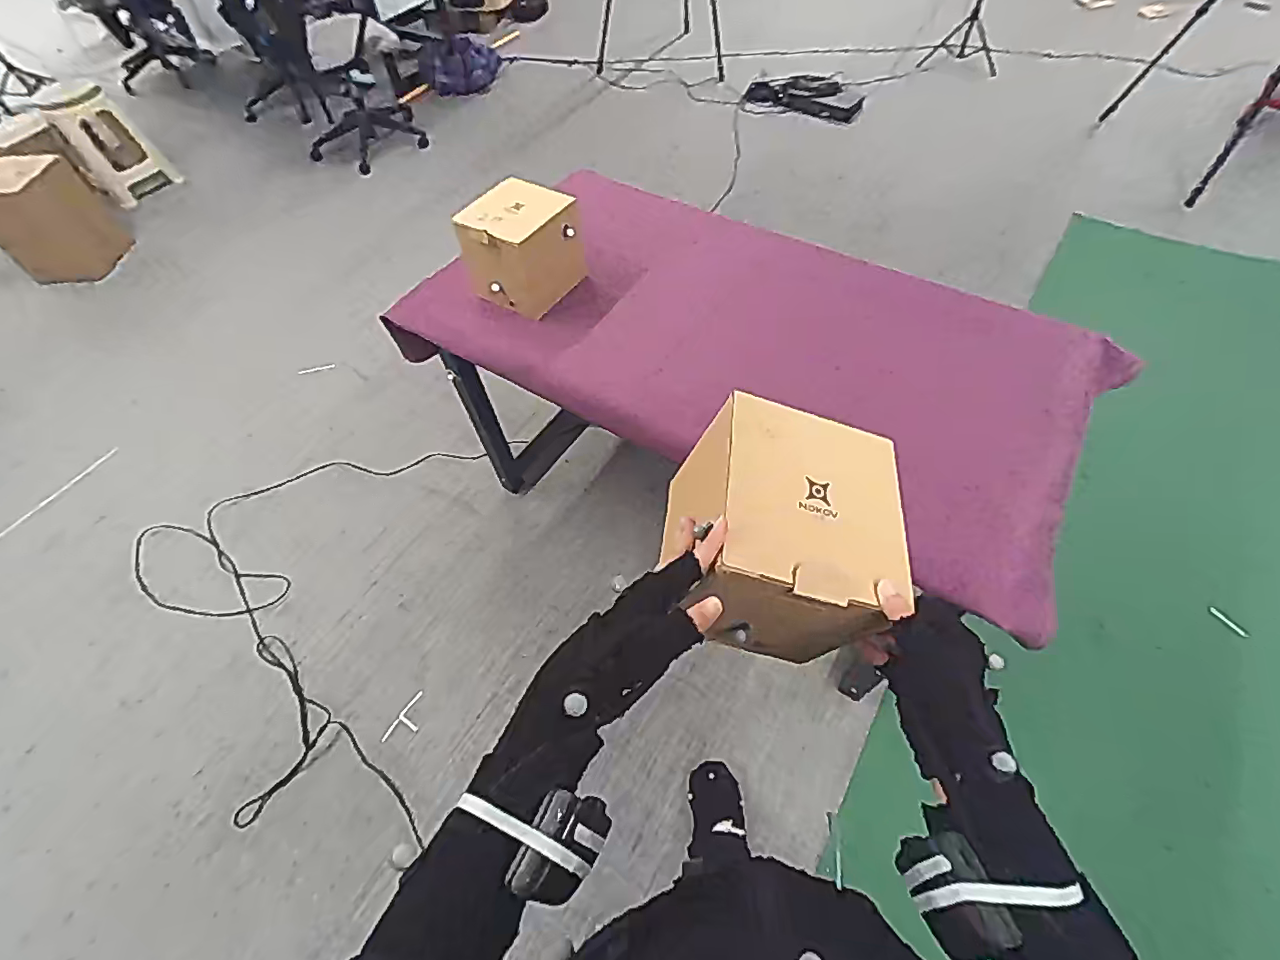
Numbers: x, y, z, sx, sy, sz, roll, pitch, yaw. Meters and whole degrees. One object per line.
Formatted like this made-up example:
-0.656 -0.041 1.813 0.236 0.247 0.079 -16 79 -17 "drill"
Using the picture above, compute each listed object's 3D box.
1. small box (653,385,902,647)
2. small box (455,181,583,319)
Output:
0.121 0.044 0.526 0.168 0.176 0.179 16 58 -10 "small box"
-0.229 -0.457 1.080 0.168 0.176 0.179 27 62 20 "small box"
